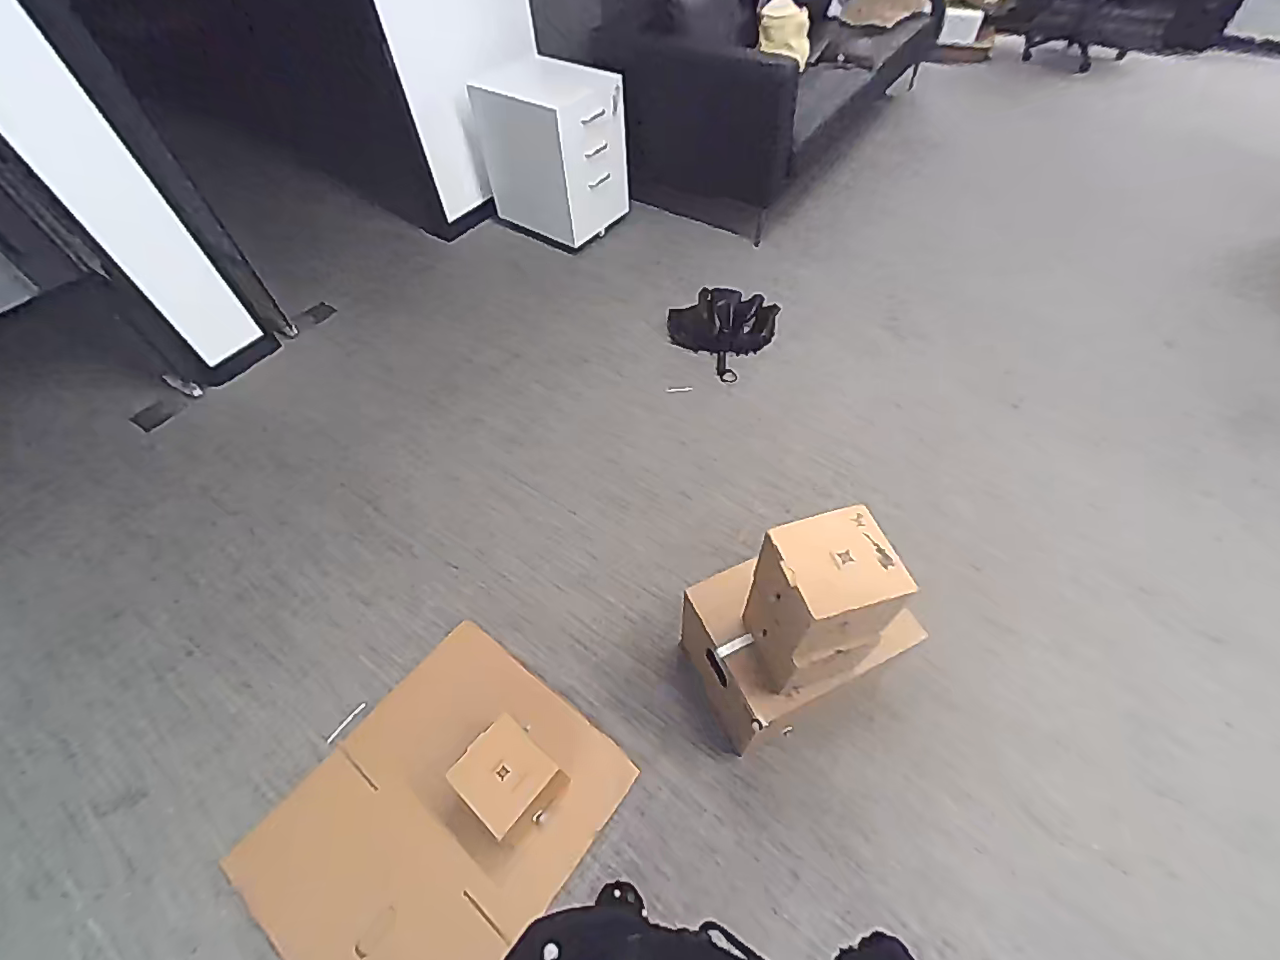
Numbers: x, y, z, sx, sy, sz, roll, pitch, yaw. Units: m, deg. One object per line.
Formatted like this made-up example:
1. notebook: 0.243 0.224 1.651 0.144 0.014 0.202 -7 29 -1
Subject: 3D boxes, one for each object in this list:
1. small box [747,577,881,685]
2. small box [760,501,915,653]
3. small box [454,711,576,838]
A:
1. small box: 0.318 0.274 1.030 0.168 0.176 0.179 -16 54 -9
2. small box: 0.314 0.167 0.908 0.179 0.176 0.168 -16 53 -10
3. small box: -0.260 0.637 1.161 0.179 0.176 0.168 33 63 24
